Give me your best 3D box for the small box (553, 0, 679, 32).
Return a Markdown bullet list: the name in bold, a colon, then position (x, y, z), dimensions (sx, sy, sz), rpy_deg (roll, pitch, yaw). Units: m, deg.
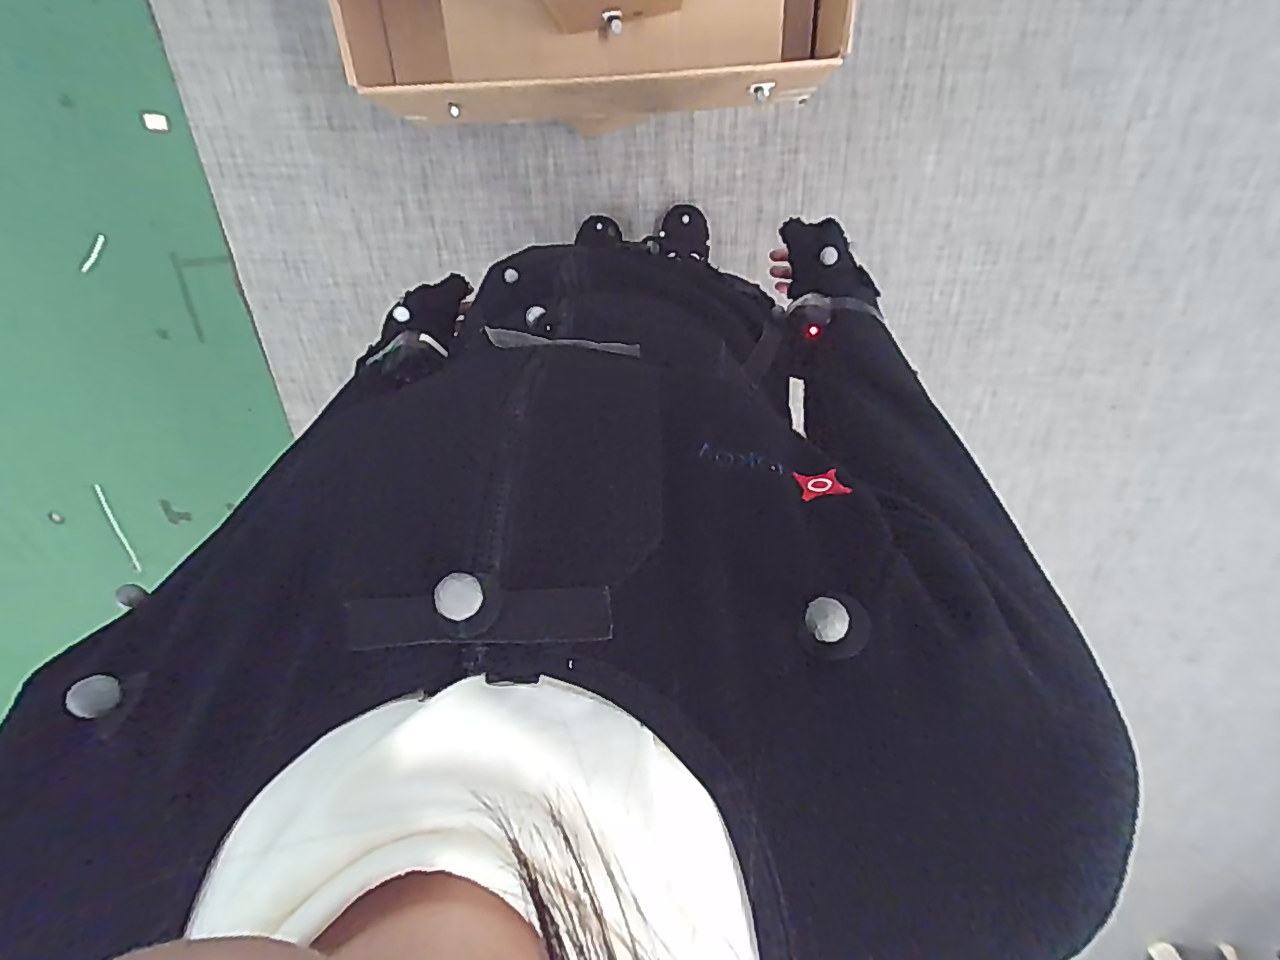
- **small box**: position (-0.042, -0.674, 0.636), dimensions (0.168, 0.176, 0.179), rpy_deg (-6, 117, 8)
